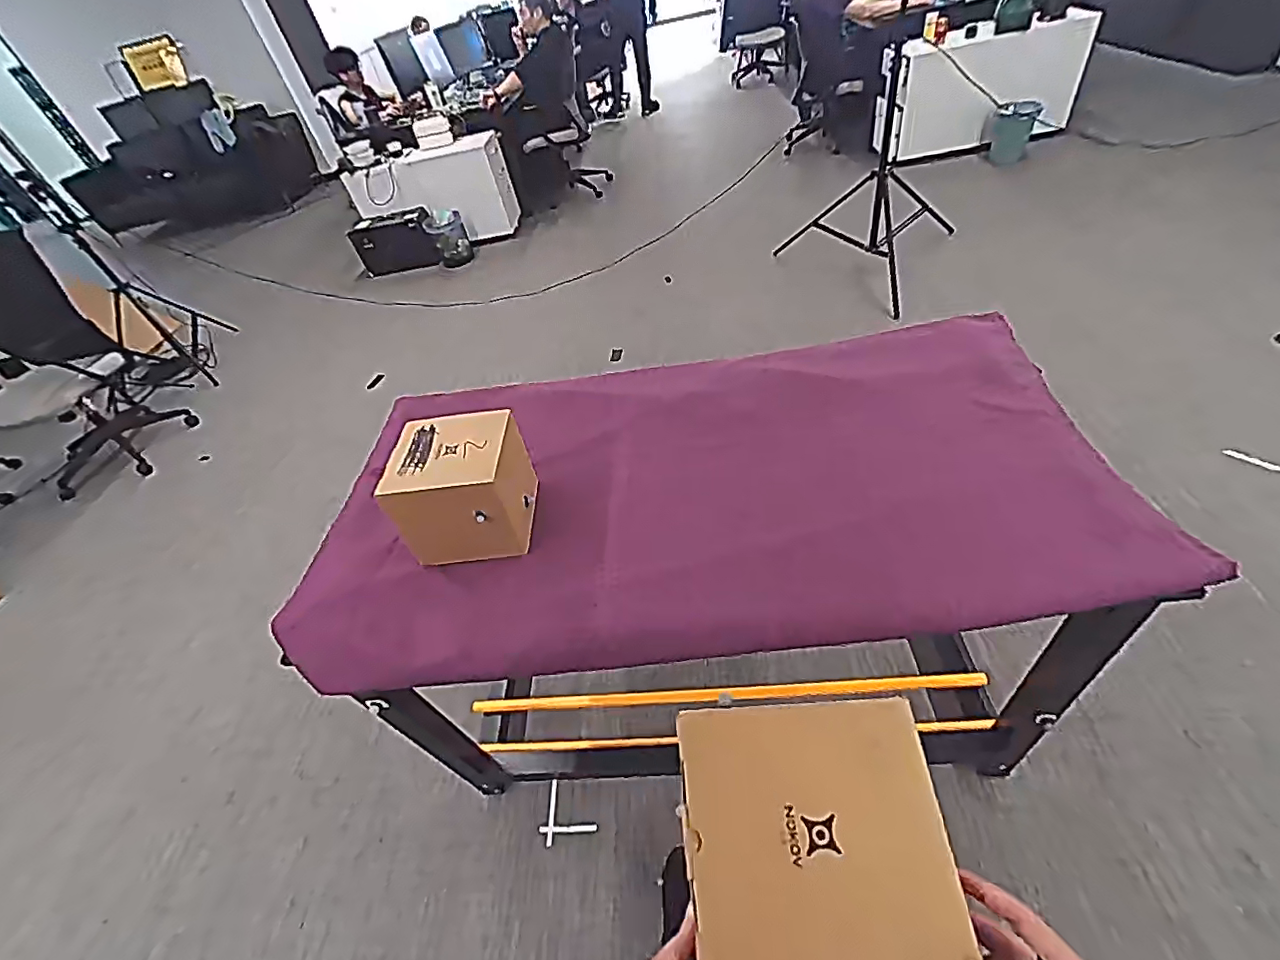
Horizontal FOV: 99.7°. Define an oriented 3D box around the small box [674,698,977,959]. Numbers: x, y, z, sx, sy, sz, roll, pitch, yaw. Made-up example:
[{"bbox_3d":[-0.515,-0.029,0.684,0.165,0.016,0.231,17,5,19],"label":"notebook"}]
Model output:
[{"bbox_3d":[0.124,0.278,0.438,0.179,0.176,0.168,-7,60,5],"label":"small box"}]
